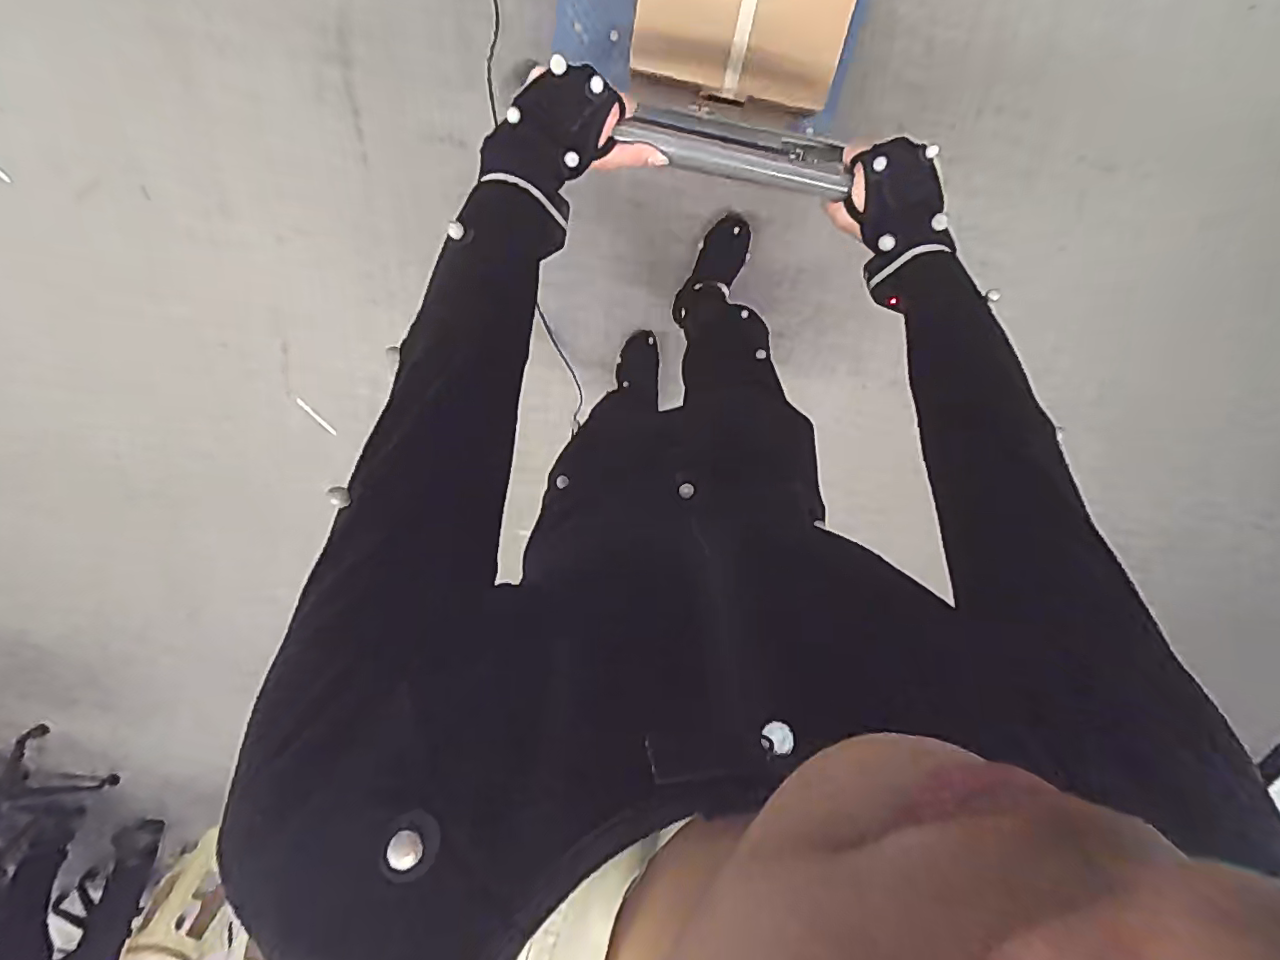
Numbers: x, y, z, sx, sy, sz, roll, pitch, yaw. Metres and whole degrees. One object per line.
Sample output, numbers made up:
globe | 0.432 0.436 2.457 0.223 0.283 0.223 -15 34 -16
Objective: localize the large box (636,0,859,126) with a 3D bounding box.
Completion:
large box | 0.177 -0.844 0.865 0.320 0.320 0.408 9 117 -5
